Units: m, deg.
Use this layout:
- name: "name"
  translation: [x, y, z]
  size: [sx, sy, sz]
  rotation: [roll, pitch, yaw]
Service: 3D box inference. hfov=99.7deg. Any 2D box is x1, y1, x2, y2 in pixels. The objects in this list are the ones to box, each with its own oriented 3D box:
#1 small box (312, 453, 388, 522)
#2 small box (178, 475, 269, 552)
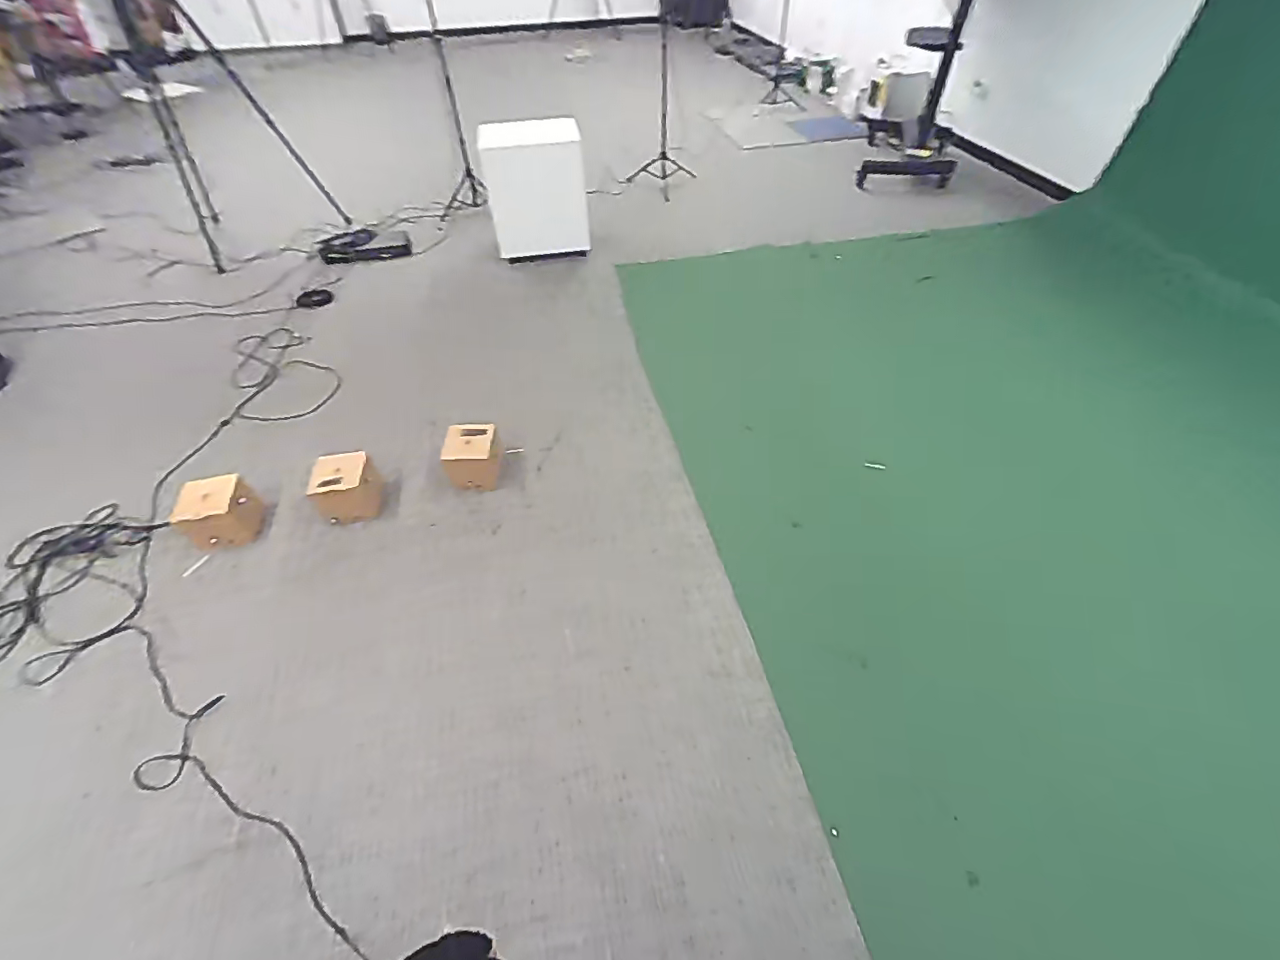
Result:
- name: "small box"
  translation: [-0.999, 0.033, 1.879]
  size: [0.168, 0.176, 0.179]
  rotation: [-7, 48, -5]
- name: "small box"
  translation: [-1.390, 0.113, 1.819]
  size: [0.168, 0.176, 0.179]
  rotation: [-11, 49, -8]
